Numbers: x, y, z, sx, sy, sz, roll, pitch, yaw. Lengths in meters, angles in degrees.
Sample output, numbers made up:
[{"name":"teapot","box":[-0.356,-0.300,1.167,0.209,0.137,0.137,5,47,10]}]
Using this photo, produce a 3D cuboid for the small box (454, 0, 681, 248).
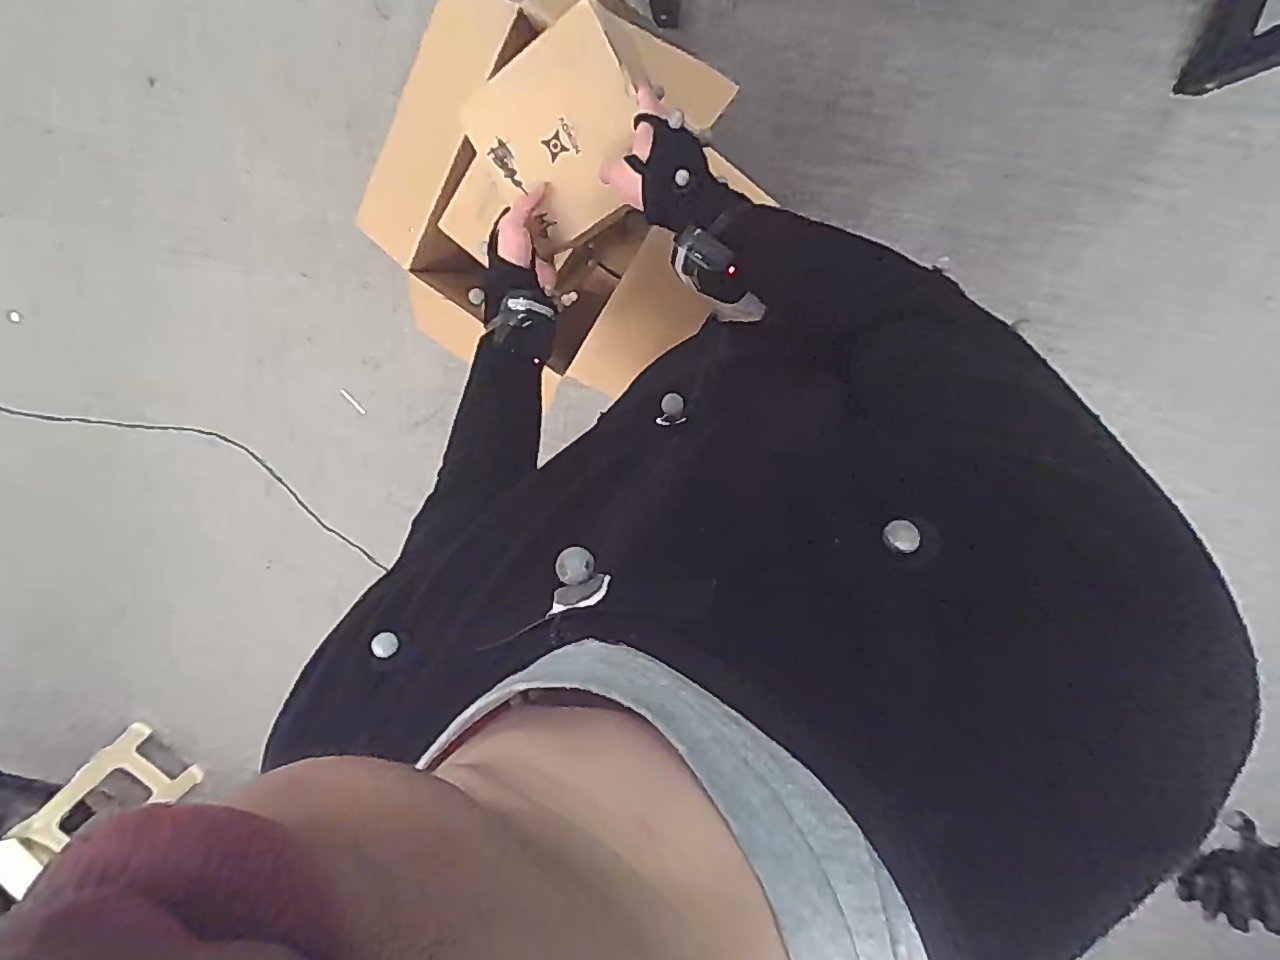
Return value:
[{"name":"small box","box":[-0.064,-0.392,0.609,0.179,0.176,0.168,-22,113,22]}]
